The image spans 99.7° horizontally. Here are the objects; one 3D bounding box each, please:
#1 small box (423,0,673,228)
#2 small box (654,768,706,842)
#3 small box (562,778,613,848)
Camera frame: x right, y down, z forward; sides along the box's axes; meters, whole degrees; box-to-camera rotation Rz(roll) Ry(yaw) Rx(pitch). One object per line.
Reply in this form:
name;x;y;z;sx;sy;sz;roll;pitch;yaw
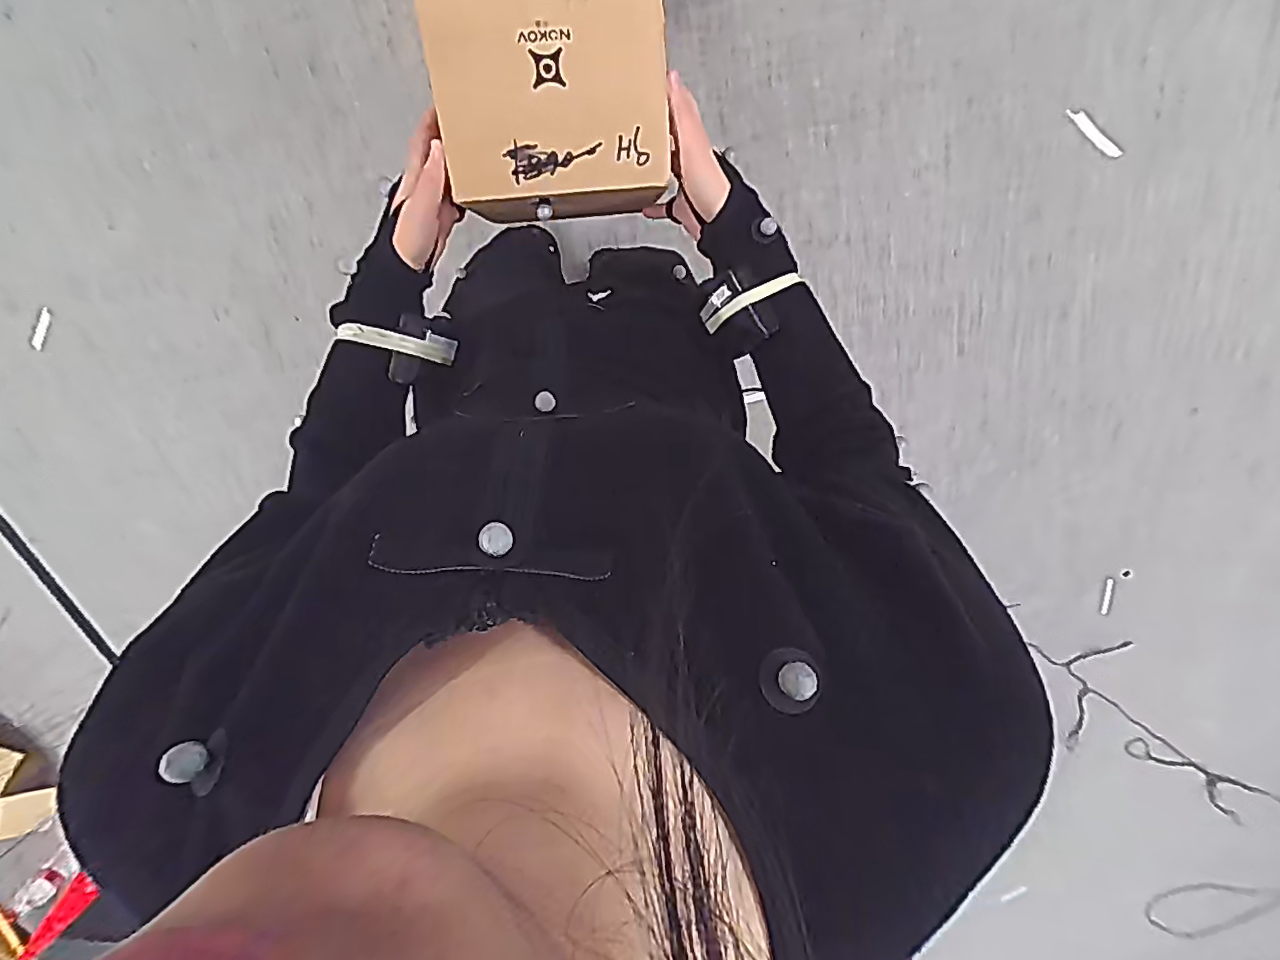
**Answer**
small box;-0.069;-0.318;0.449;0.168;0.176;0.179;-6;110;-3
small box;0.152;1.228;2.049;0.168;0.176;0.179;-11;114;6
small box;-0.200;1.278;2.081;0.179;0.176;0.168;4;115;-2
